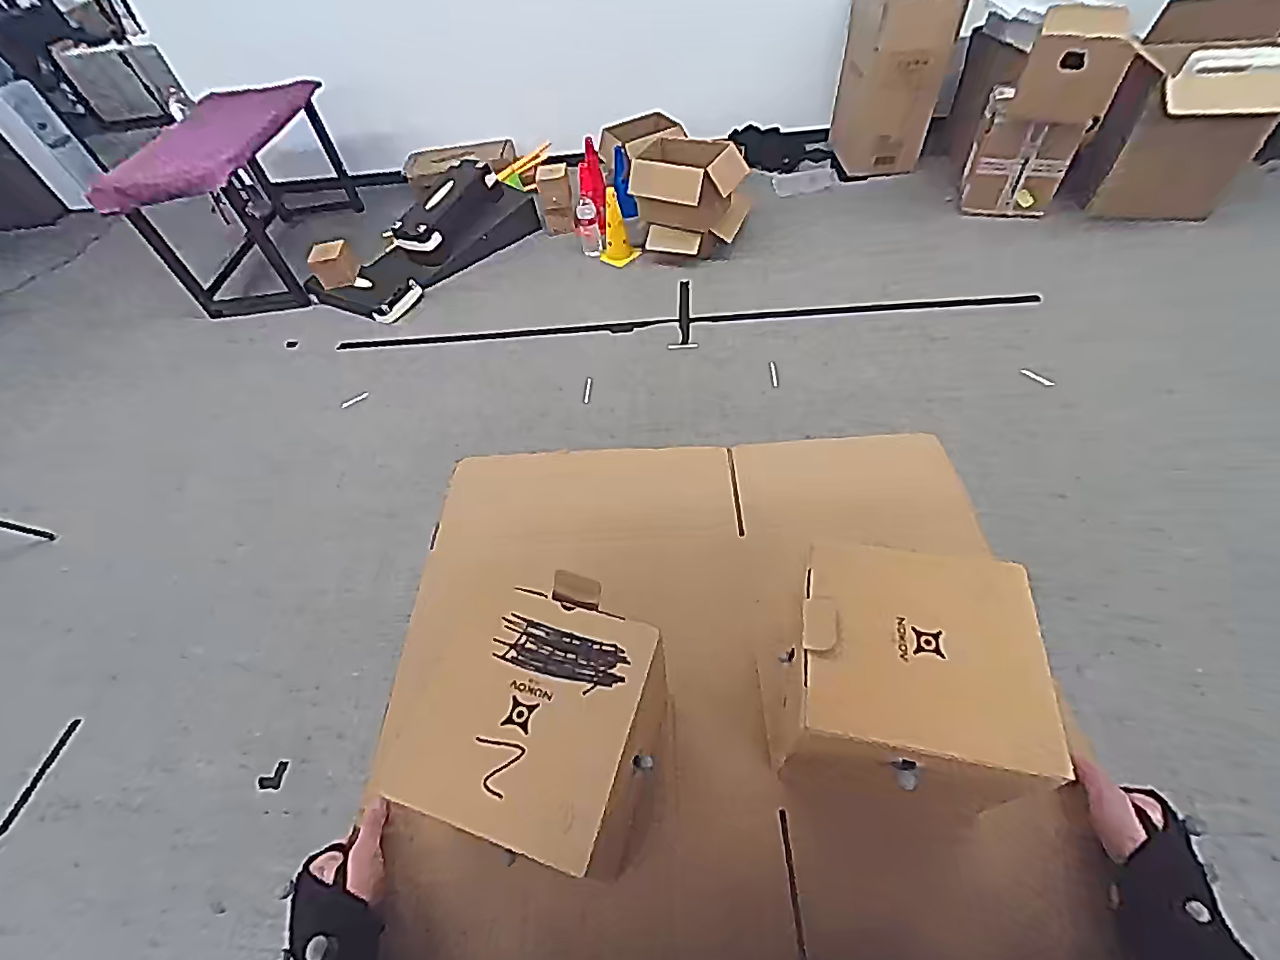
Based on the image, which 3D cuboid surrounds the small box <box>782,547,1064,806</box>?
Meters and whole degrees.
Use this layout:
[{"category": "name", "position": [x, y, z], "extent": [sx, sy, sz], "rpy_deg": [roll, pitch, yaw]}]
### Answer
[{"category": "small box", "position": [0.232, 0.183, 0.495], "extent": [0.179, 0.176, 0.168], "rpy_deg": [6, 53, 13]}]
